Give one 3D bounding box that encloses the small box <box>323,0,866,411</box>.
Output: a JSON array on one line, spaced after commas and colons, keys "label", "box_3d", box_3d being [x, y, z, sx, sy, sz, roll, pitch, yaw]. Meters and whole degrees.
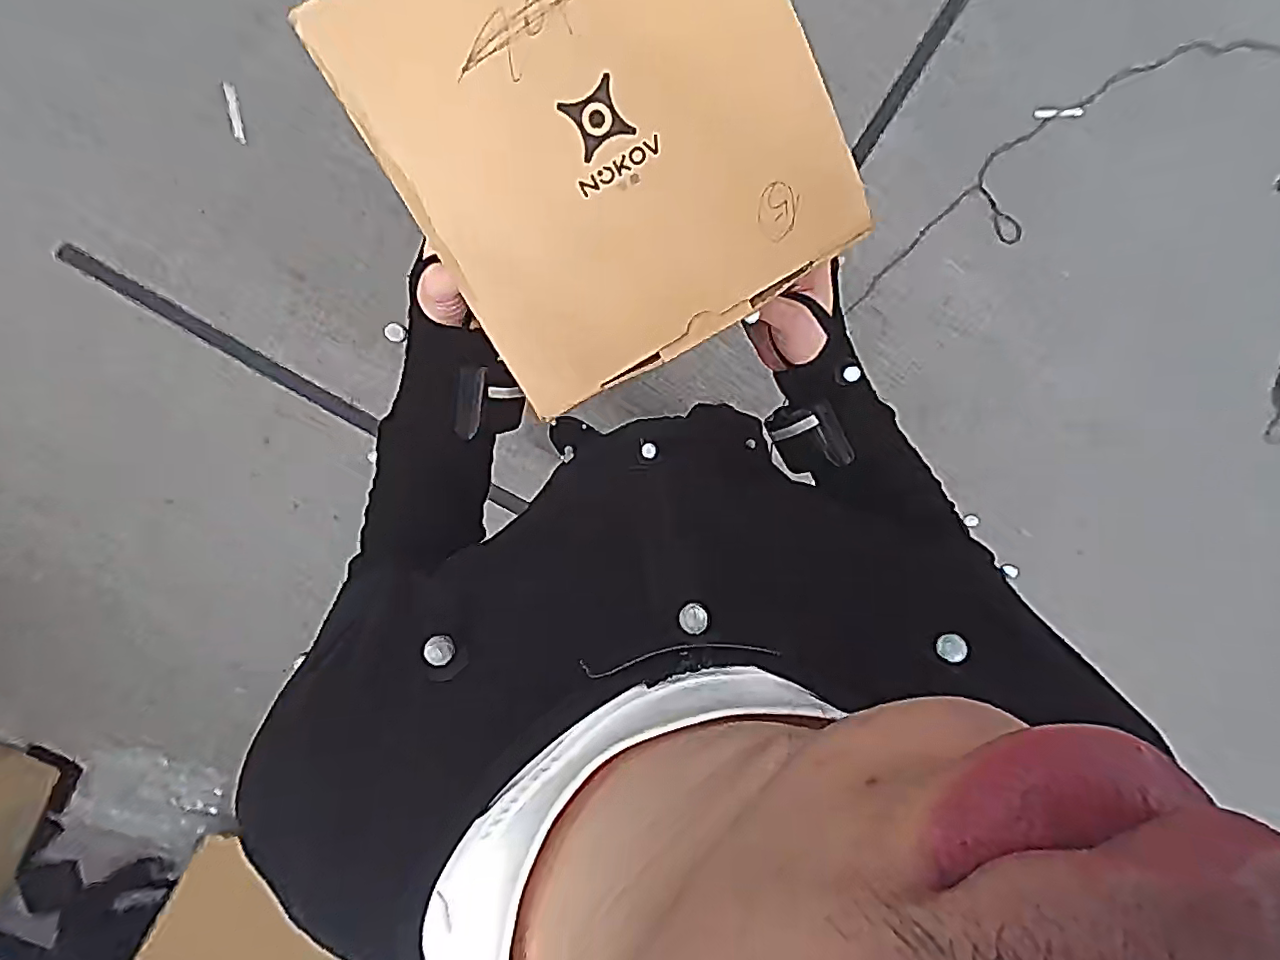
[{"label": "small box", "box_3d": [-0.014, -0.163, 0.298, 0.168, 0.176, 0.179, -30, 104, 6]}]
